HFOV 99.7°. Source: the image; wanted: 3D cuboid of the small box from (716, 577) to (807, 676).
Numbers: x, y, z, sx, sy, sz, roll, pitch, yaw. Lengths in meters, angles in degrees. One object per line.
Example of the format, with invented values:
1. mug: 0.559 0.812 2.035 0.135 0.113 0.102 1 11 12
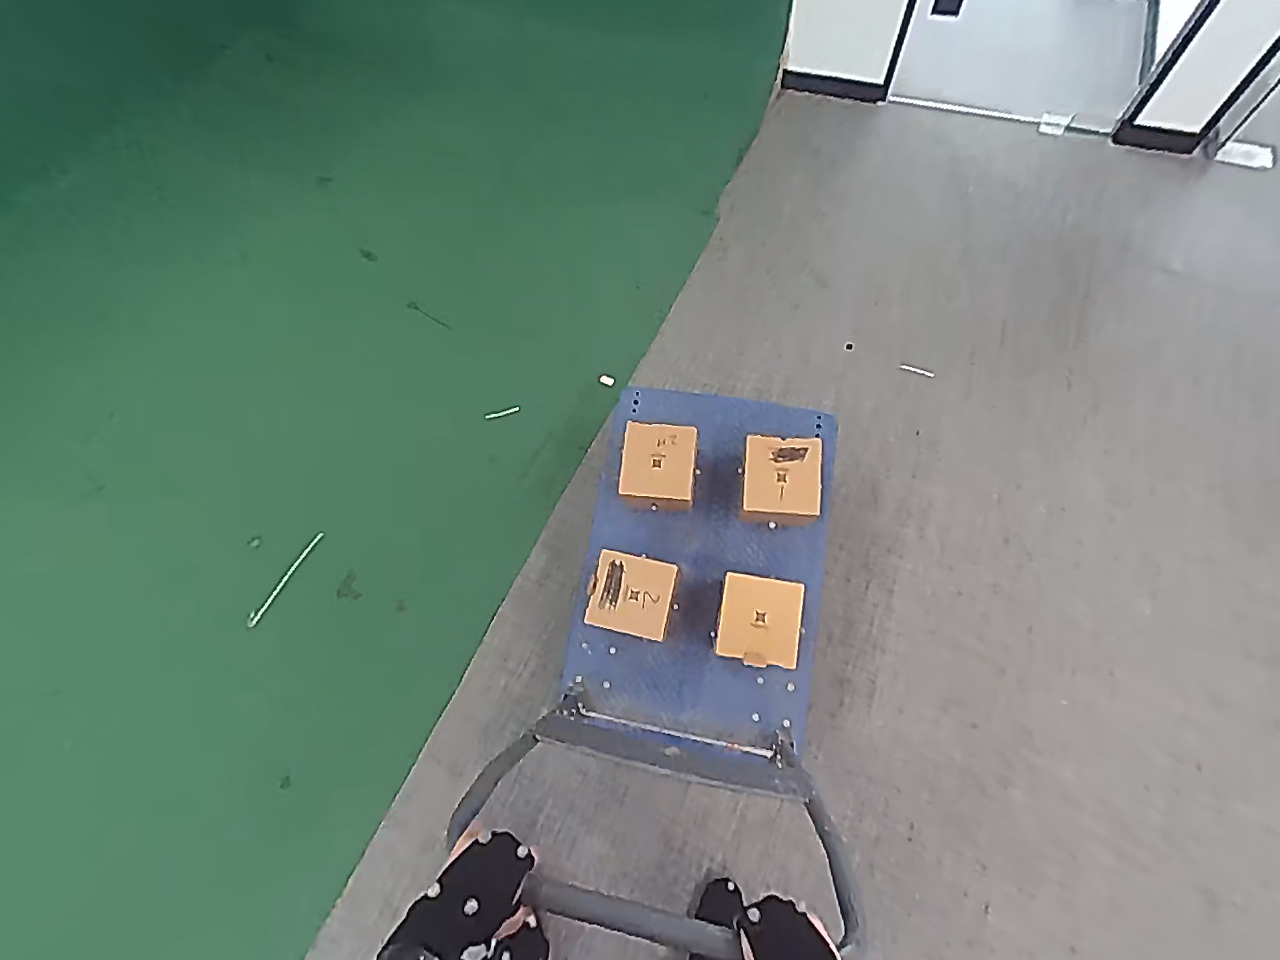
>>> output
1. small box: 0.261 0.321 1.197 0.168 0.176 0.179 9 77 9

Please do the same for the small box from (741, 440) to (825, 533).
1. small box: 0.330 0.020 1.267 0.168 0.176 0.179 5 77 8

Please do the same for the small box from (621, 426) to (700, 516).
1. small box: 0.056 -0.015 1.306 0.168 0.176 0.179 6 76 7
